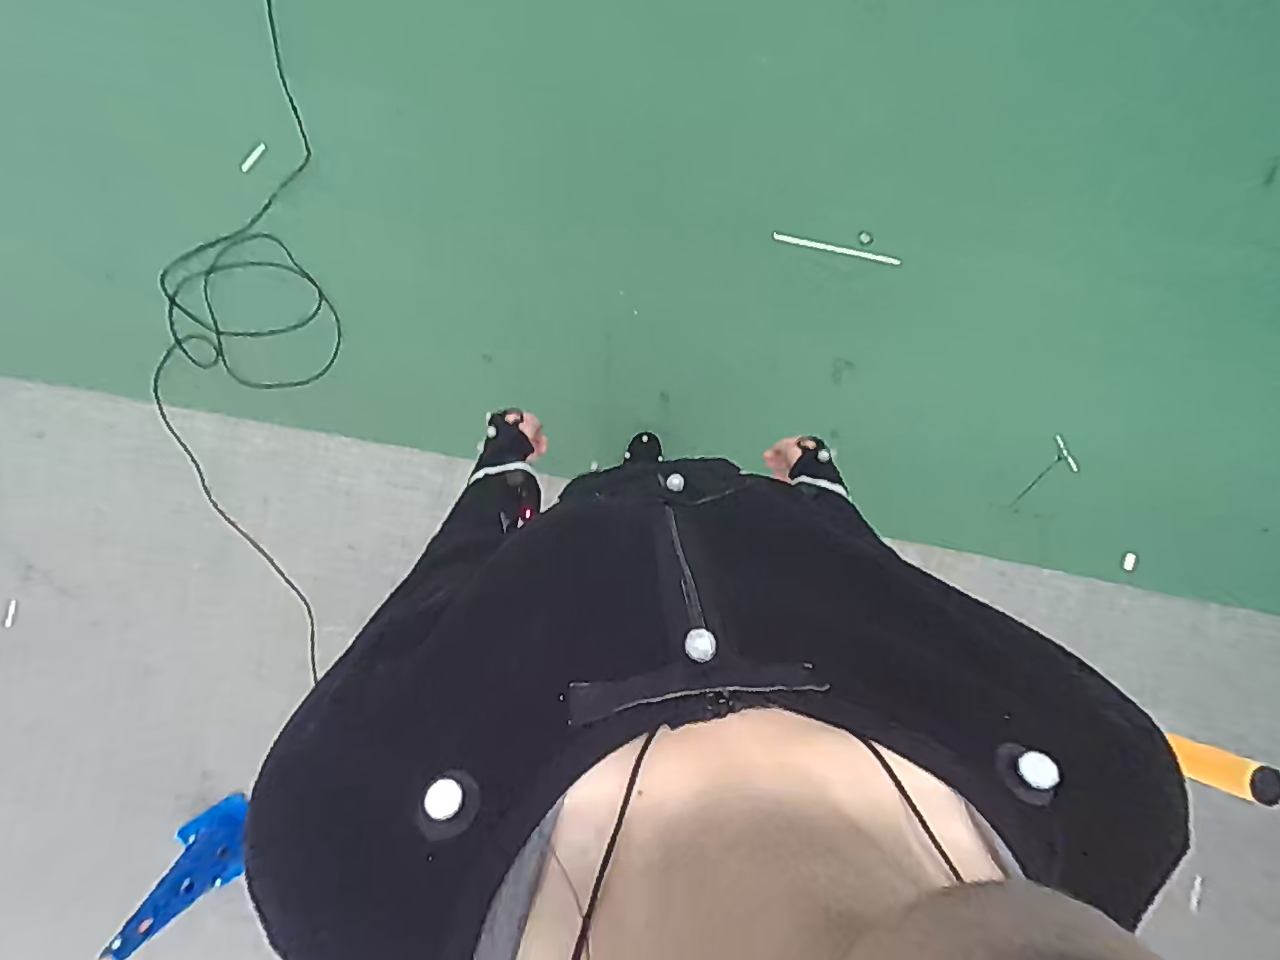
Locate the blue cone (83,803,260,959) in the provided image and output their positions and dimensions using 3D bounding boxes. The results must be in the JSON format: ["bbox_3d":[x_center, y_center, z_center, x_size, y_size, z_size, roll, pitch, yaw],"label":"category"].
[{"bbox_3d":[-1.102,0.972,1.249,0.193,0.380,0.192,-33,94,-1],"label":"blue cone"}]
